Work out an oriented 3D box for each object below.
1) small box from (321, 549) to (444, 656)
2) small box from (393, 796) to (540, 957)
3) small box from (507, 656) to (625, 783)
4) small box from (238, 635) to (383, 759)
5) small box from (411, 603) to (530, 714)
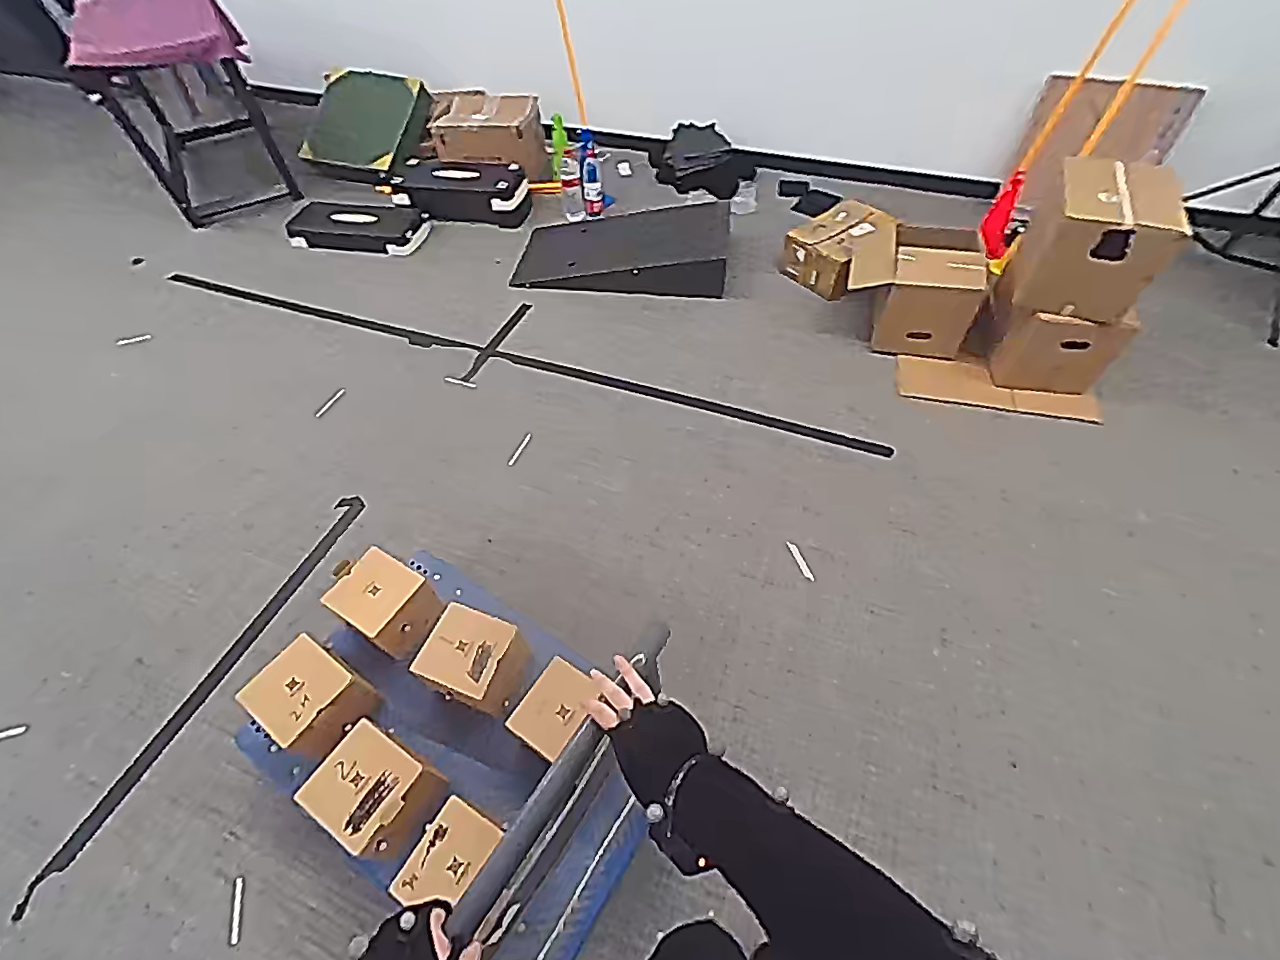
[{"bbox_3d":[-0.606,0.300,1.296,0.179,0.176,0.168,25,59,18],"label":"small box"},{"bbox_3d":[-0.303,0.714,0.988,0.179,0.176,0.168,24,57,17],"label":"small box"},{"bbox_3d":[-0.145,0.509,1.137,0.179,0.176,0.168,27,58,20],"label":"small box"},{"bbox_3d":[-0.701,0.474,1.169,0.179,0.176,0.168,29,60,19],"label":"small box"},{"bbox_3d":[-0.368,0.406,1.214,0.179,0.176,0.168,16,56,13],"label":"small box"}]
